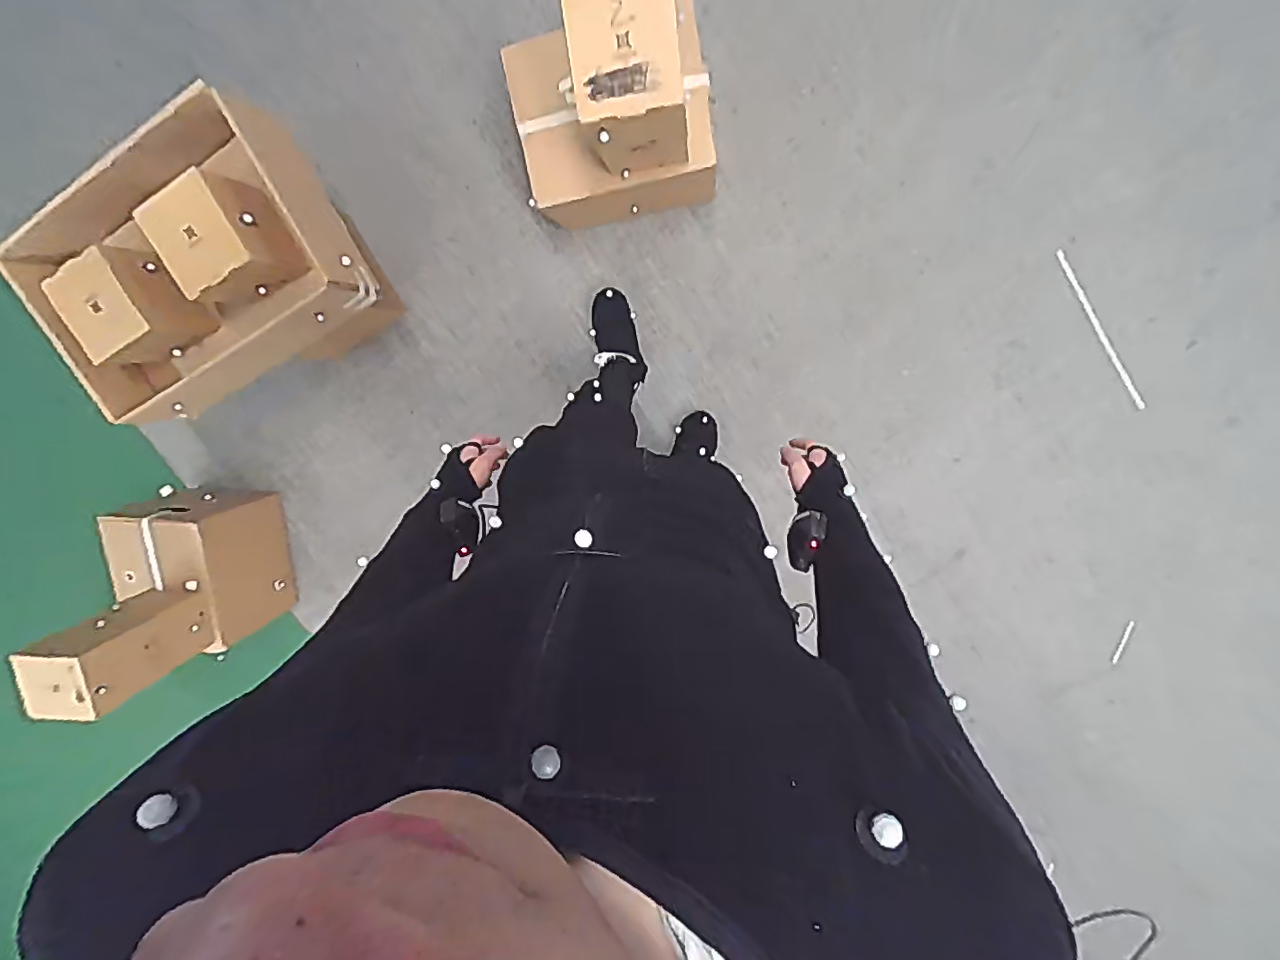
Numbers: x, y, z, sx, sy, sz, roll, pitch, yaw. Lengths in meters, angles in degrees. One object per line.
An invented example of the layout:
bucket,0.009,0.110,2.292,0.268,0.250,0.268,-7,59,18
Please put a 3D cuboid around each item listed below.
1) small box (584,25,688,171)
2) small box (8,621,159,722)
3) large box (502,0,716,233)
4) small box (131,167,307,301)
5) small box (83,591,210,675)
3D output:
small box,0.001,-0.707,1.027,0.168,0.176,0.179,-6,105,7
small box,-1.330,0.454,1.305,0.179,0.176,0.168,1,105,5
large box,-0.047,-0.805,1.261,0.408,0.320,0.320,-9,103,9
small box,-0.815,-0.470,1.065,0.168,0.176,0.179,-25,102,12
small box,-1.326,0.412,1.463,0.179,0.176,0.168,1,105,4
